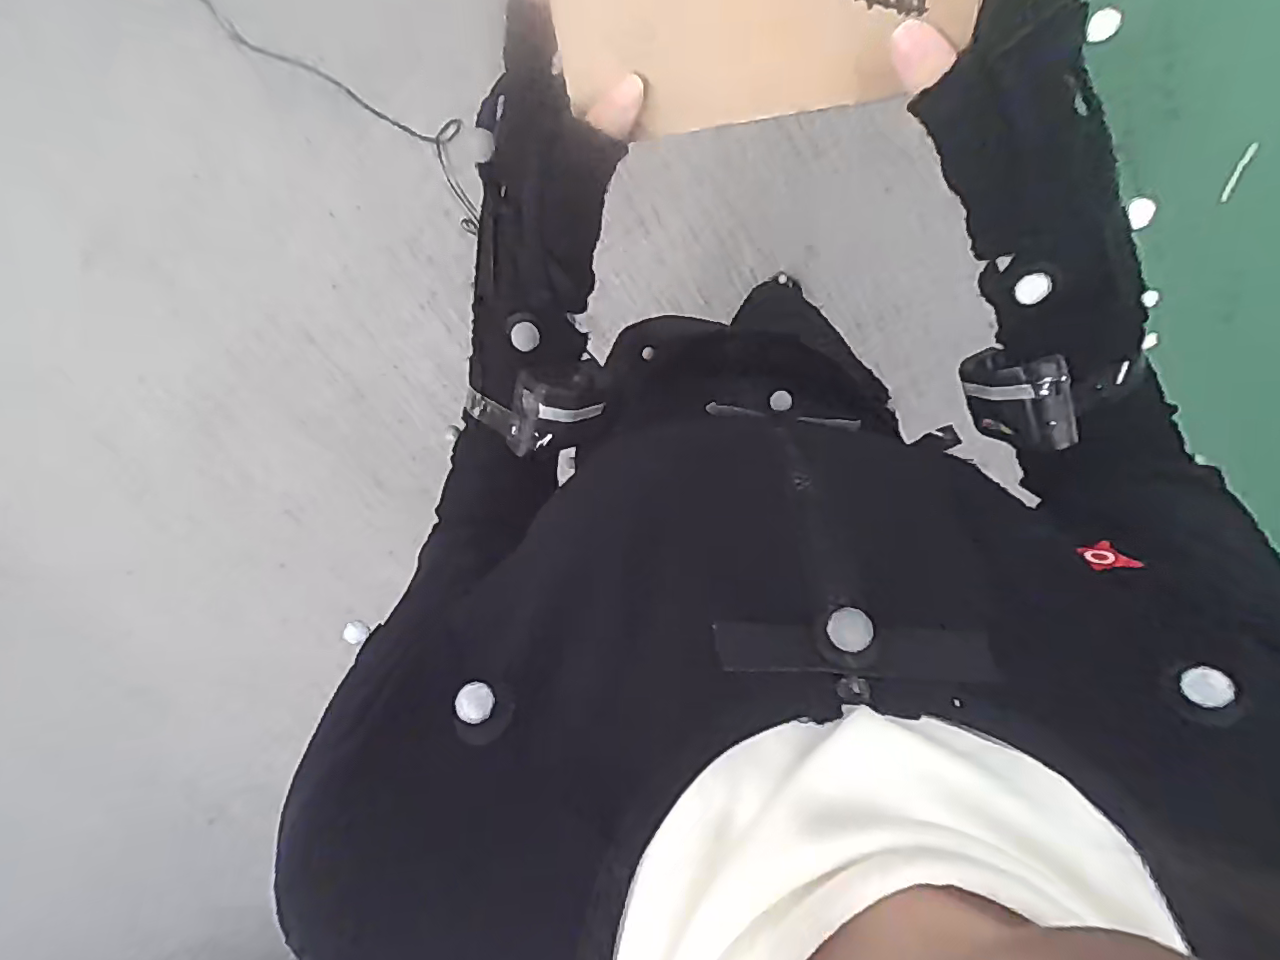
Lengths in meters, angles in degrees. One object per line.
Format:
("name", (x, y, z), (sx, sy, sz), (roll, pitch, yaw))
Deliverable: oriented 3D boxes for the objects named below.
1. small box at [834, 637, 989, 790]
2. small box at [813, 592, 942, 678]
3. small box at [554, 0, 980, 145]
("small box", (0.492, 0.421, 1.009), (0.168, 0.176, 0.179), (-36, 102, 12))
("small box", (0.502, 0.373, 1.164), (0.179, 0.176, 0.168), (-34, 103, 13))
("small box", (0.047, -0.282, 0.249), (0.179, 0.176, 0.168), (-5, 134, 8))
